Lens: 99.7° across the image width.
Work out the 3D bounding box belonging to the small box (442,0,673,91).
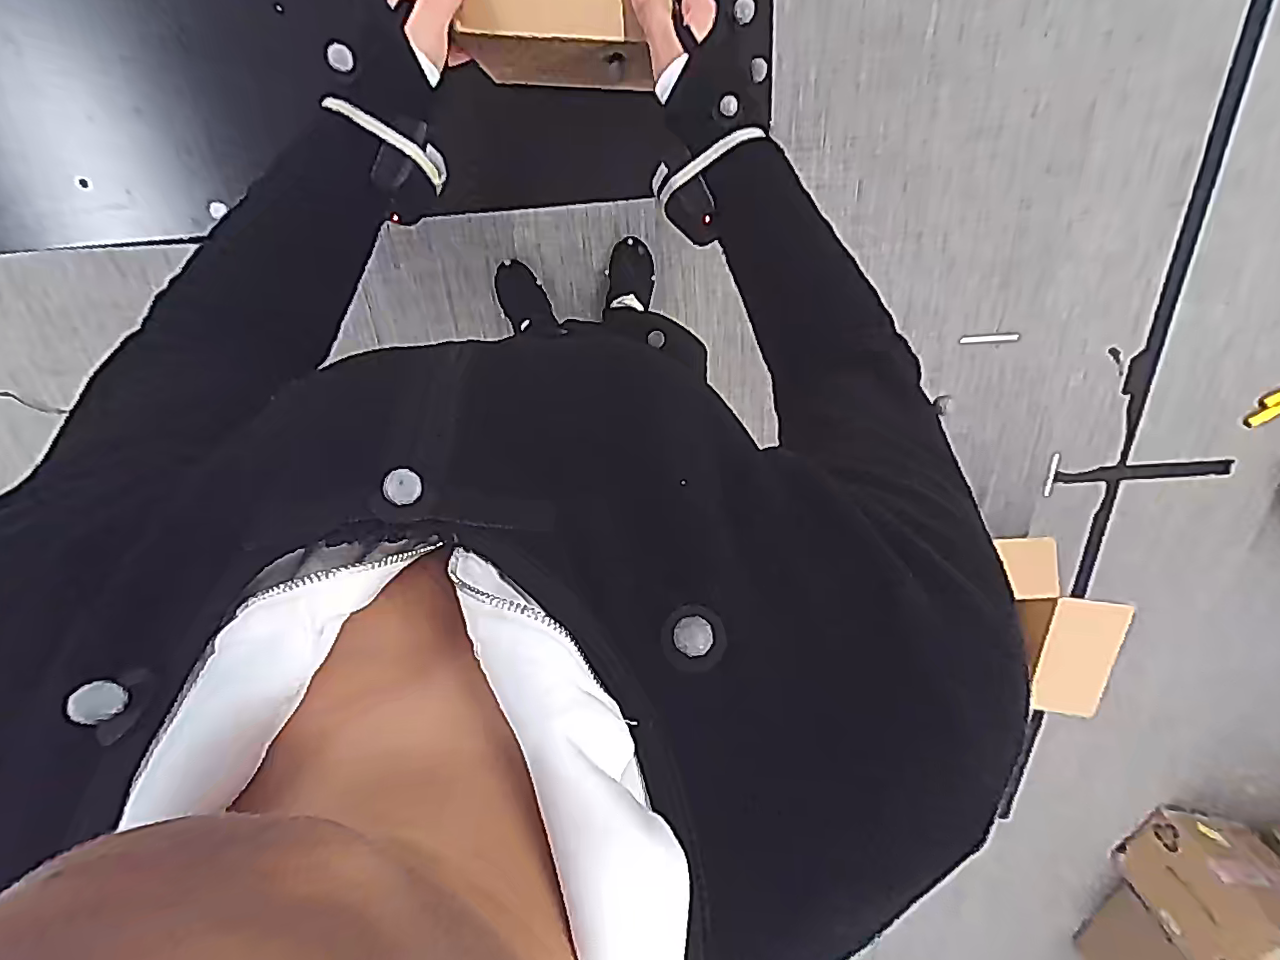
[{"bbox_3d":[-0.063,-0.444,0.454,0.179,0.176,0.168,1,116,-2],"label":"small box"}]
